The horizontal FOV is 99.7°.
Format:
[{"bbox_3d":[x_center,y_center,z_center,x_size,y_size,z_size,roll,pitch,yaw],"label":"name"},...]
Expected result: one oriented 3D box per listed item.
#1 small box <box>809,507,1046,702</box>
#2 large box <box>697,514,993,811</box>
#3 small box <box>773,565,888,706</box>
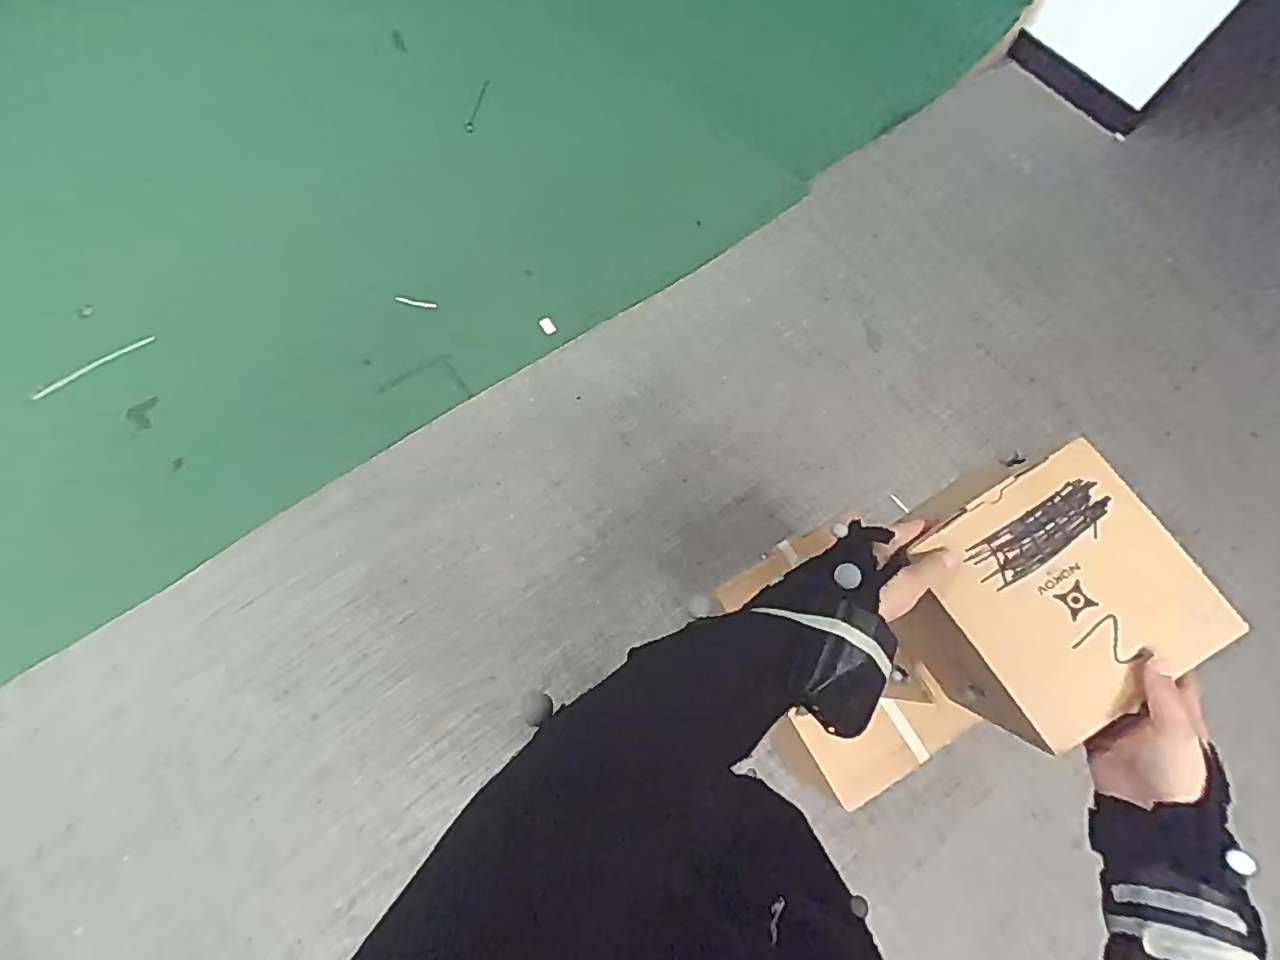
[{"bbox_3d":[0.351,0.165,0.702,0.168,0.176,0.179,-28,75,-11],"label":"small box"},{"bbox_3d":[0.359,0.338,1.071,0.320,0.320,0.408,-29,75,-9],"label":"large box"},{"bbox_3d":[0.338,0.229,0.851,0.168,0.176,0.179,-27,73,-11],"label":"small box"}]
